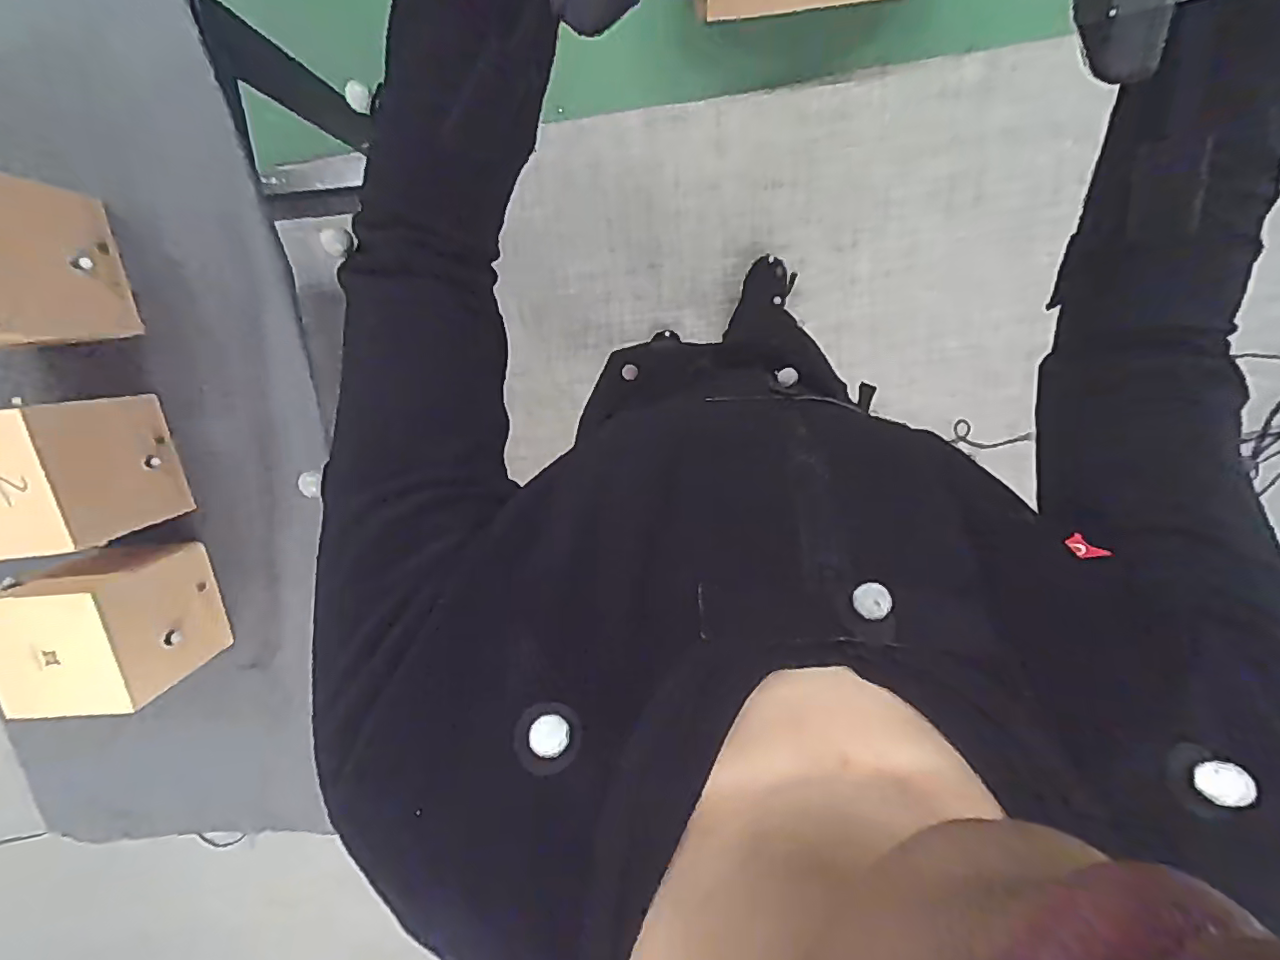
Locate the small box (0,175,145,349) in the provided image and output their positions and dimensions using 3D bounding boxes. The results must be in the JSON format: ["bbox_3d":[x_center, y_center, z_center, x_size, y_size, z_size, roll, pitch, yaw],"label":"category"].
[{"bbox_3d":[-0.741,-0.240,0.618,0.179,0.176,0.168,-5,104,4],"label":"small box"}]
